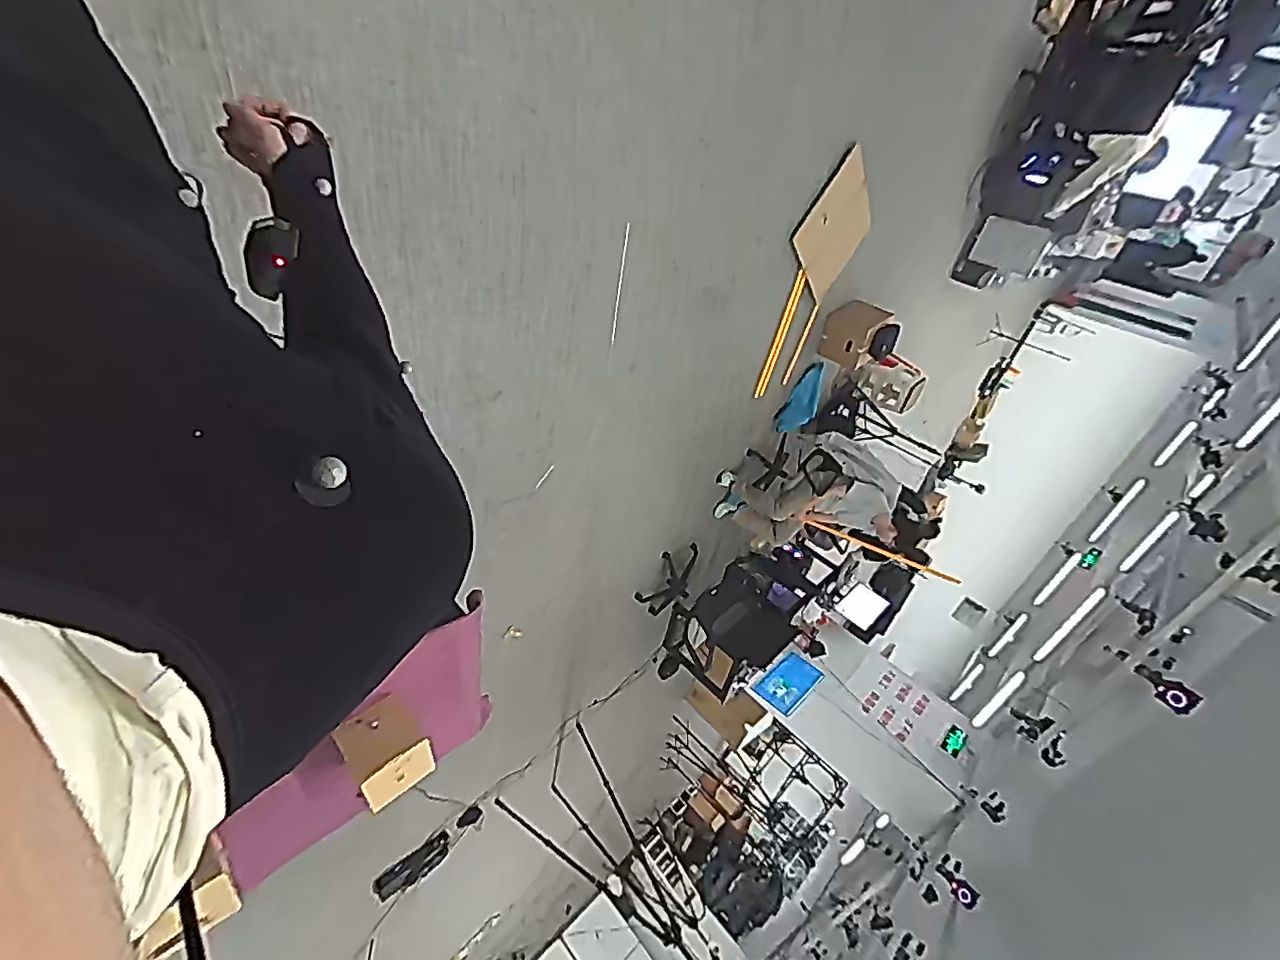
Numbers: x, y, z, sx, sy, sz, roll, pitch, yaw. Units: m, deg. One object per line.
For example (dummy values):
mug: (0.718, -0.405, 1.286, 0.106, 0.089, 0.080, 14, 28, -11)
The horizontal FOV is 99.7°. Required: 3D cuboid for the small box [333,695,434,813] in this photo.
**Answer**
small box: (-0.644, 0.685, 1.366, 0.168, 0.176, 0.179, -28, 140, -36)
